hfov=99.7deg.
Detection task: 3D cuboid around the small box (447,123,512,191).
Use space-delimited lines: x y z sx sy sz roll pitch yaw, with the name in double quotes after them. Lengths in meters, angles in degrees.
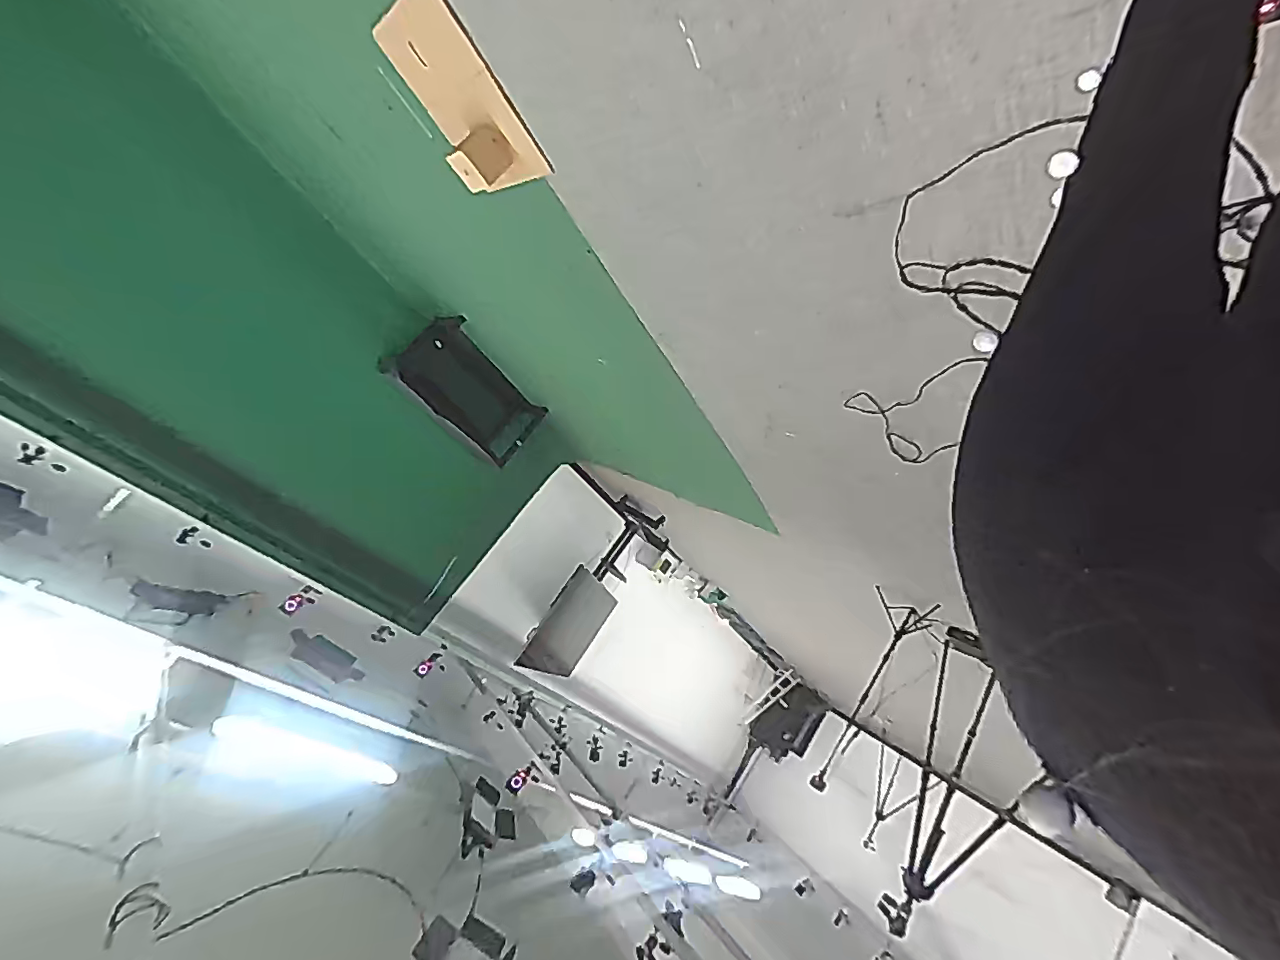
-0.667 -1.348 2.261 0.179 0.176 0.168 21 160 47 "small box"
